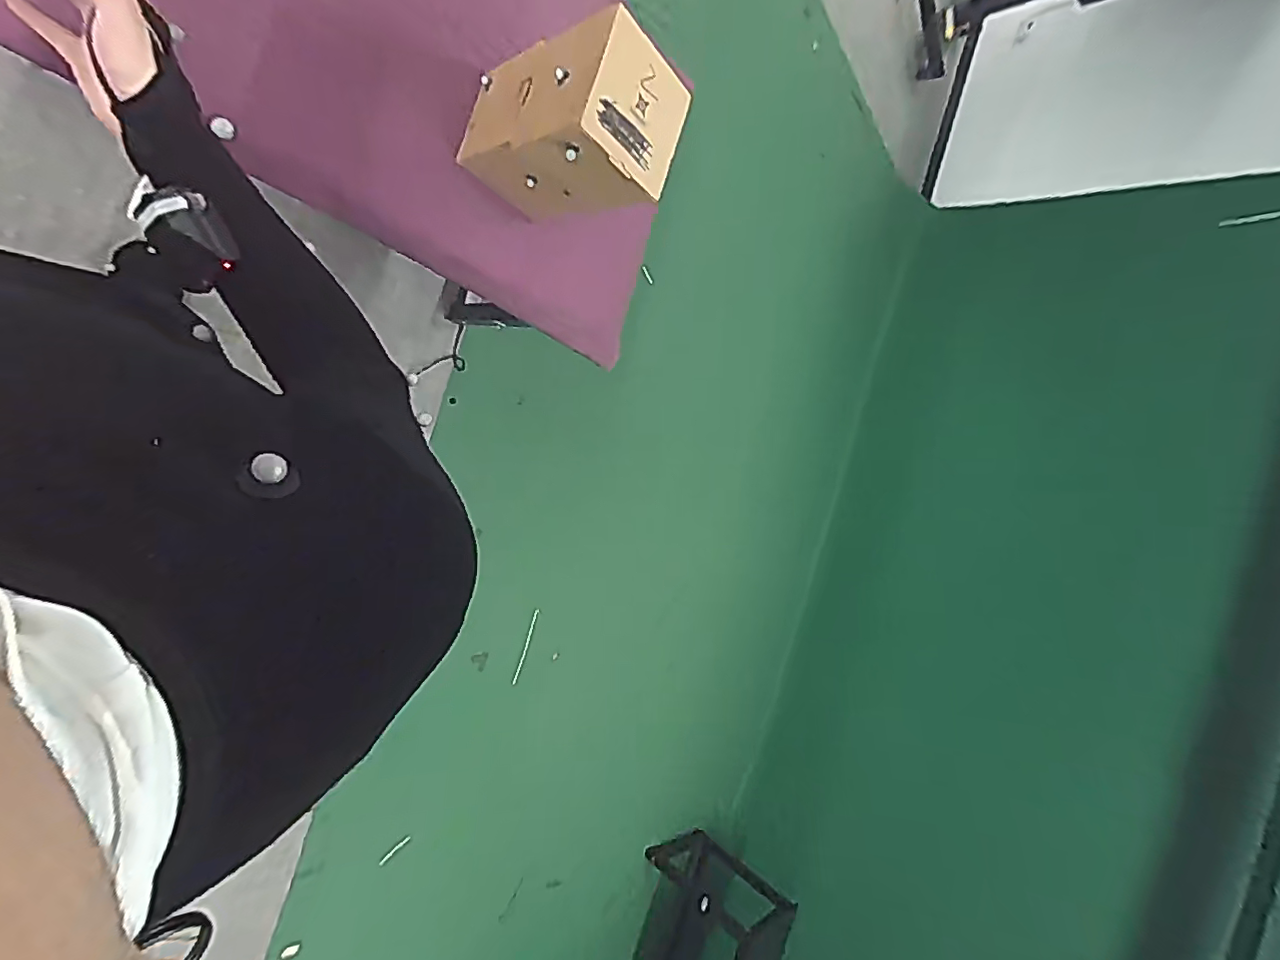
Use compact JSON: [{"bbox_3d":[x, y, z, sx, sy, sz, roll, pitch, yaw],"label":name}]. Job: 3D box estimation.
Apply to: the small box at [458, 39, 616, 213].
[{"bbox_3d":[-0.177,-0.578,0.916,0.179,0.176,0.168,20,88,-49],"label":"small box"}]
